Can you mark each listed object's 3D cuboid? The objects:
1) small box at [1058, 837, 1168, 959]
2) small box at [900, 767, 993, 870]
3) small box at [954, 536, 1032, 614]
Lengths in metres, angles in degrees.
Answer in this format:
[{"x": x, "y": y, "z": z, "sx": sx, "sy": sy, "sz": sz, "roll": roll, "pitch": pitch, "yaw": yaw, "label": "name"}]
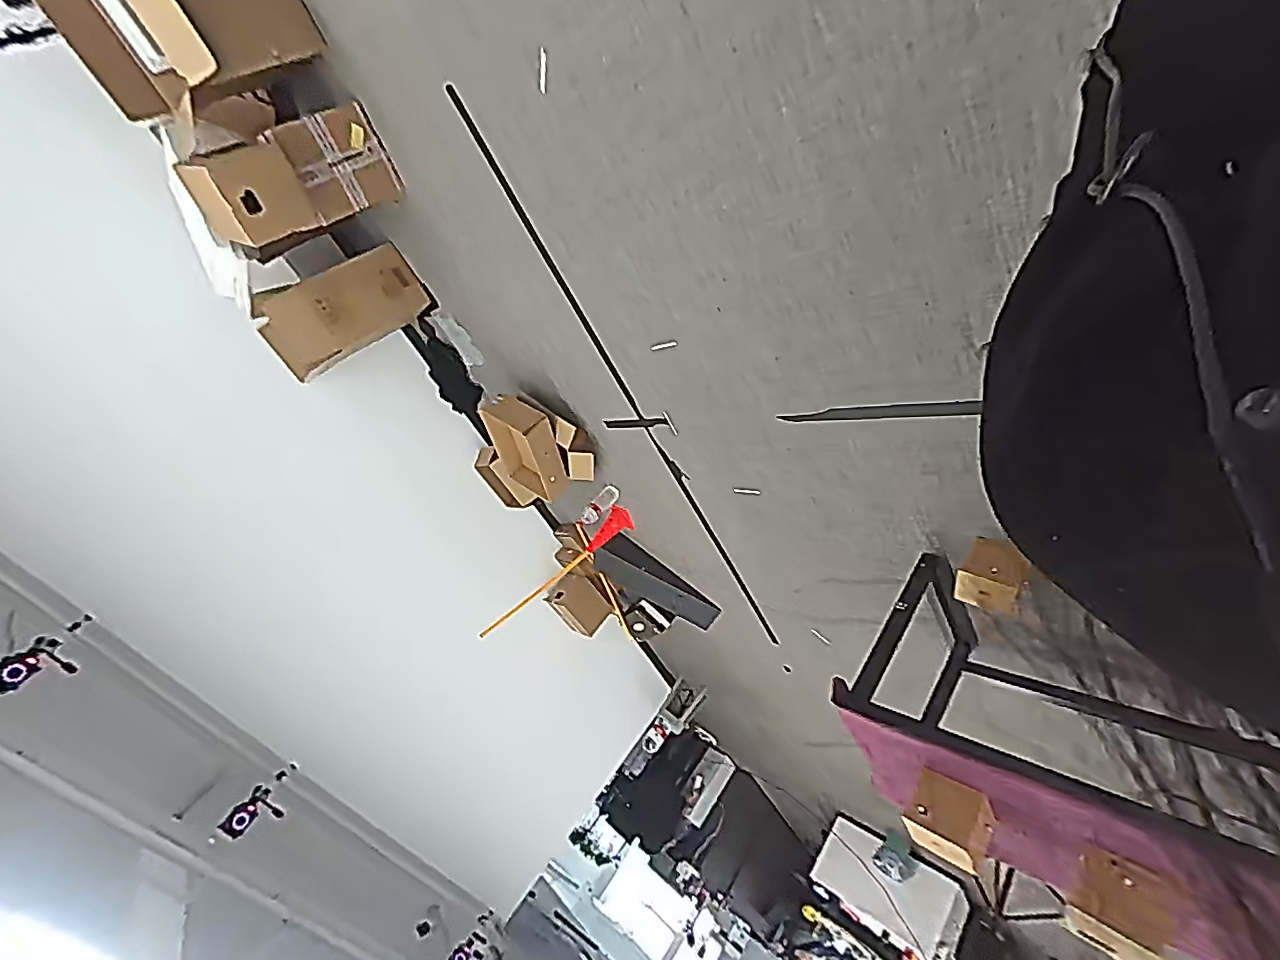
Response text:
[{"x": 1.147, "y": 1.021, "z": 1.314, "sx": 0.168, "sy": 0.176, "sz": 0.179, "roll": 16, "pitch": 141, "yaw": 43, "label": "small box"}, {"x": 0.902, "y": 0.981, "z": 1.588, "sx": 0.179, "sy": 0.176, "sz": 0.168, "roll": 6, "pitch": 135, "yaw": 50, "label": "small box"}, {"x": 1.205, "y": 0.318, "z": 1.849, "sx": 0.179, "sy": 0.176, "sz": 0.168, "roll": 19, "pitch": 143, "yaw": 38, "label": "small box"}]
